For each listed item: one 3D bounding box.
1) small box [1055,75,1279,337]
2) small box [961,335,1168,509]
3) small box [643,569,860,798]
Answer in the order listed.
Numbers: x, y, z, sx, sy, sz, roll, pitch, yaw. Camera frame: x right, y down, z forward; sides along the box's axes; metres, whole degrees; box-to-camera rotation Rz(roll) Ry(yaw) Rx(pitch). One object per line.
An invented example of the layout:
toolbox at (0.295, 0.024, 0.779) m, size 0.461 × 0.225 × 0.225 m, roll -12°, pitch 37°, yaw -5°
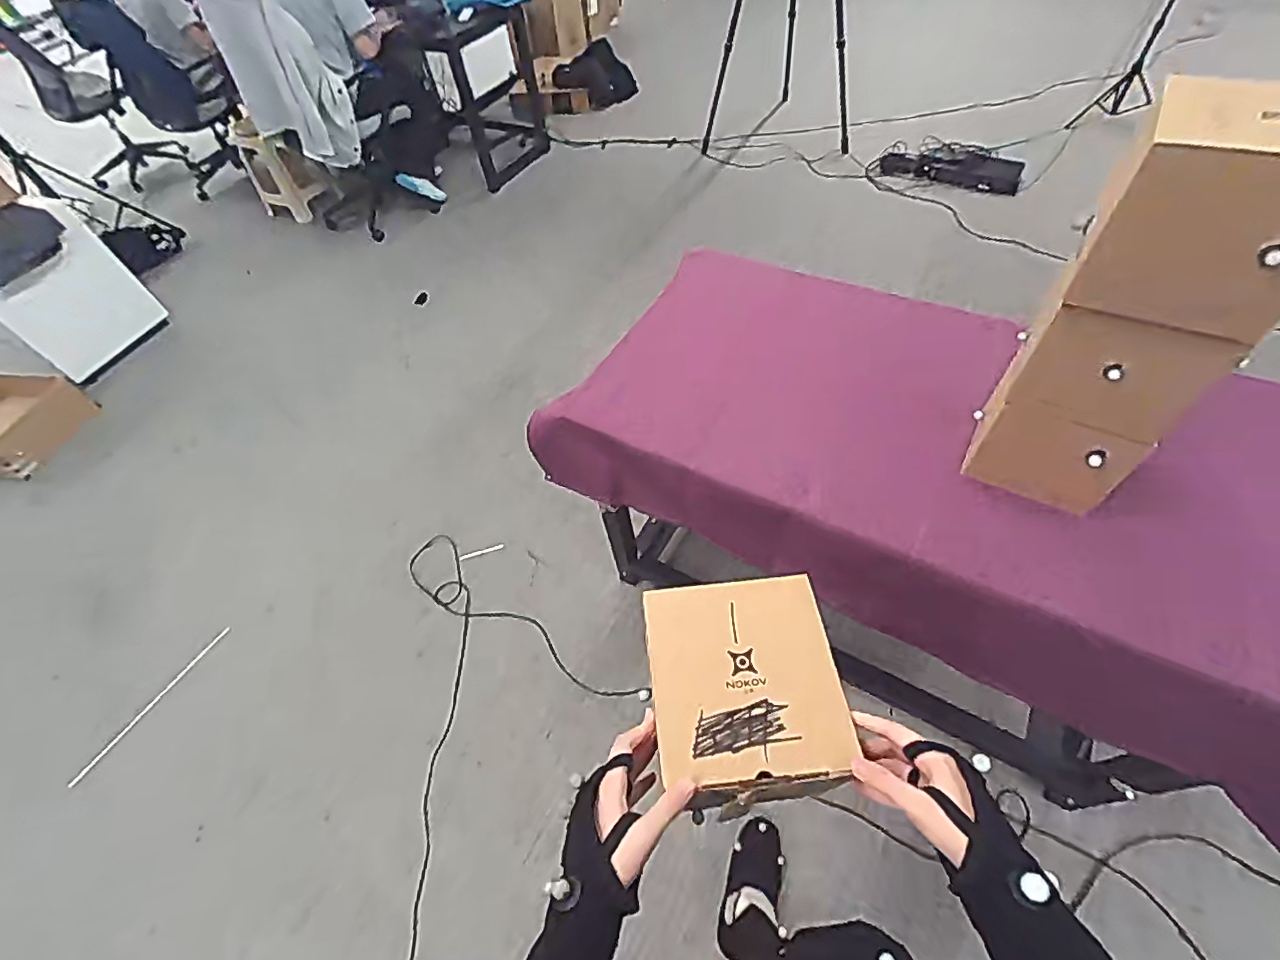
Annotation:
small box at (0.568, -0.269, 0.541) m, size 0.179 × 0.176 × 0.168 m, roll 24°, pitch 59°, yaw 23°
small box at (0.619, -0.080, 0.804) m, size 0.179 × 0.176 × 0.168 m, roll 24°, pitch 60°, yaw 23°
small box at (0.095, 0.212, 0.547) m, size 0.168 × 0.176 × 0.179 m, roll -6°, pitch 54°, yaw -2°
